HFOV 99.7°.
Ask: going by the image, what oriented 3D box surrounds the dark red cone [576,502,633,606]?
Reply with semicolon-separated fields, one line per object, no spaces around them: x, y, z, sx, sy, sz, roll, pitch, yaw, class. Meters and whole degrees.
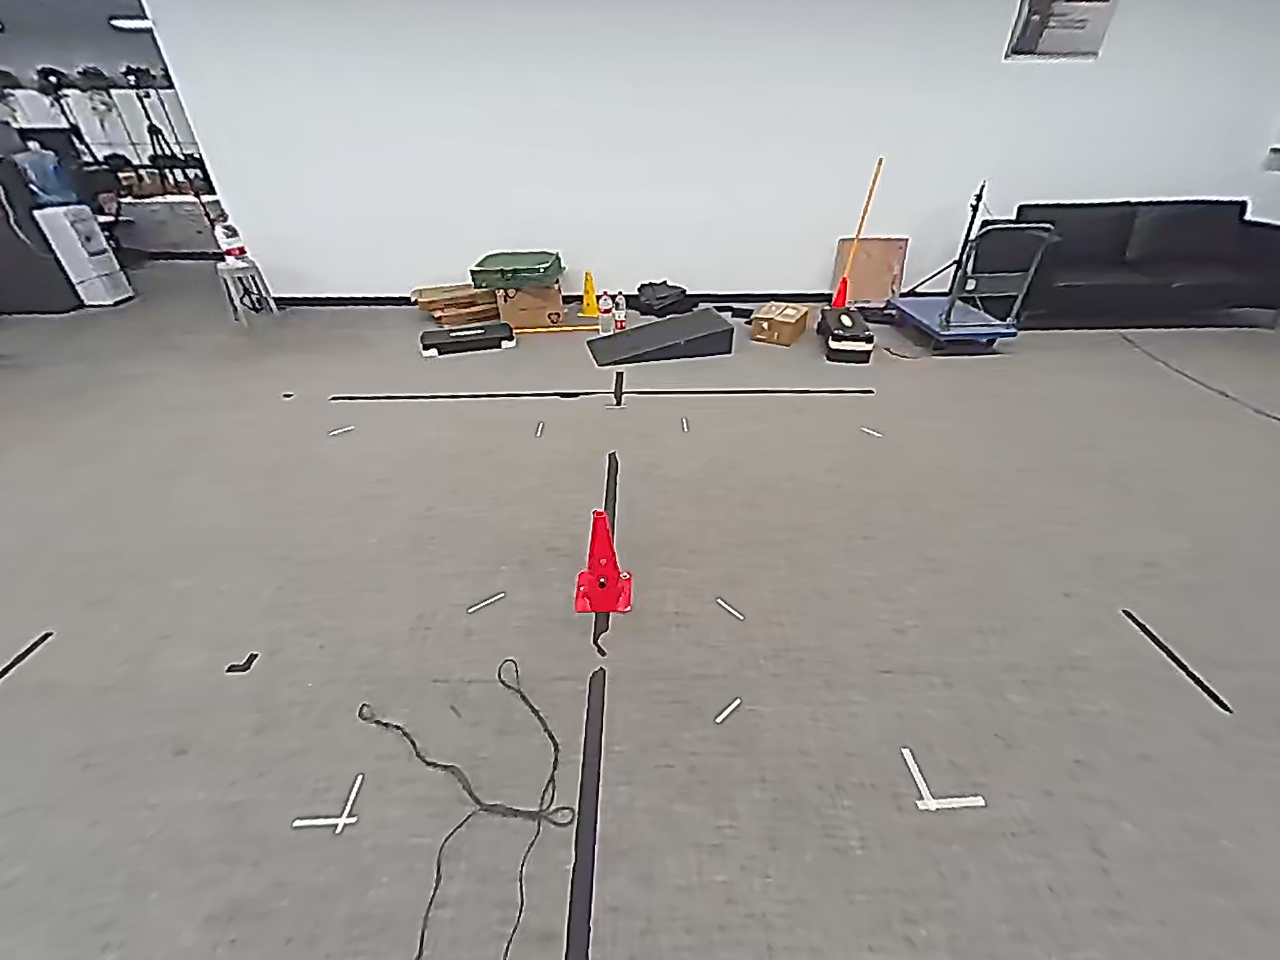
-0.129;0.239;1.848;0.201;0.394;0.202;-1;34;0;dark red cone
